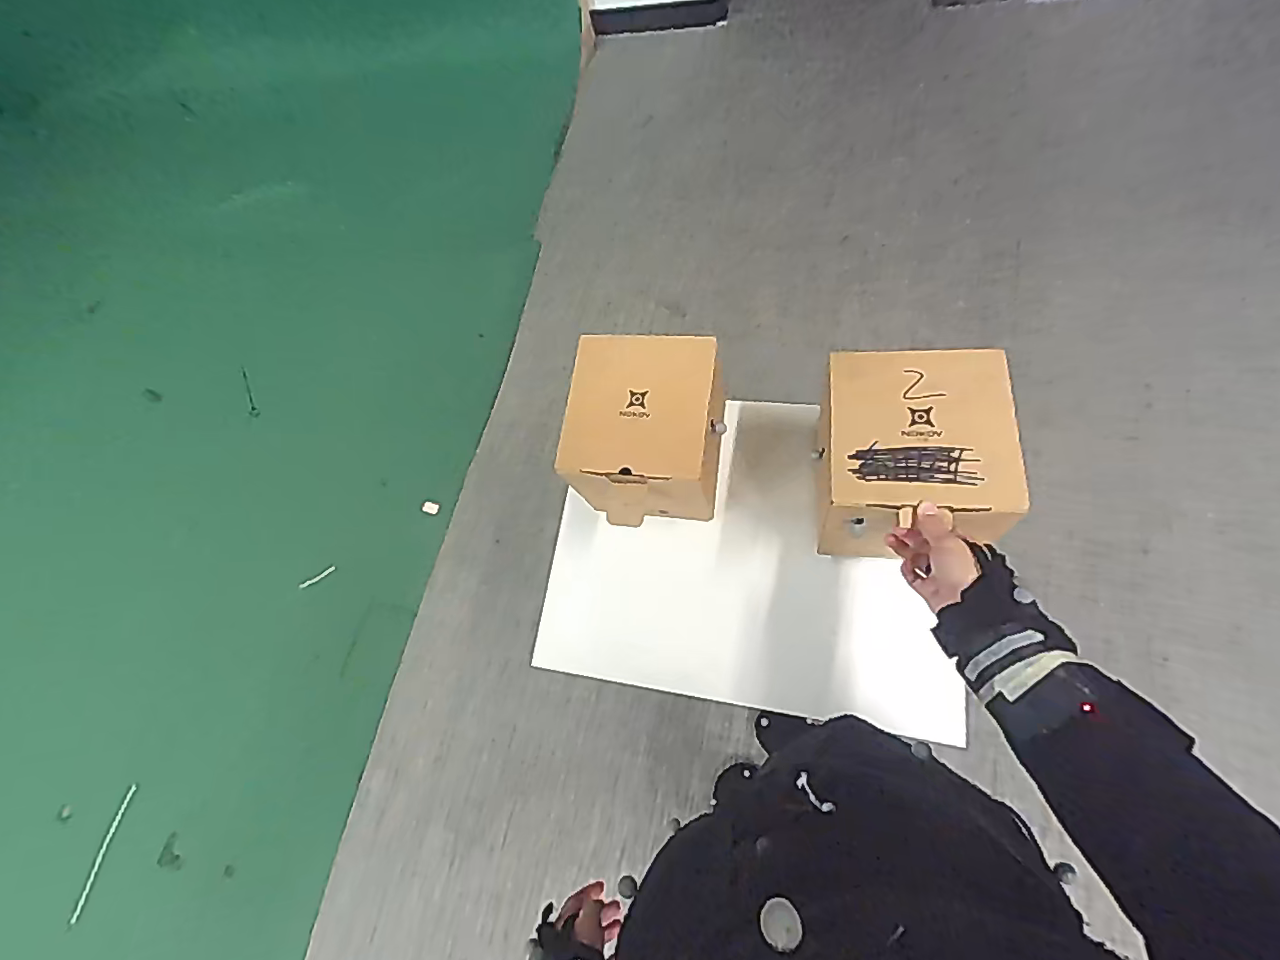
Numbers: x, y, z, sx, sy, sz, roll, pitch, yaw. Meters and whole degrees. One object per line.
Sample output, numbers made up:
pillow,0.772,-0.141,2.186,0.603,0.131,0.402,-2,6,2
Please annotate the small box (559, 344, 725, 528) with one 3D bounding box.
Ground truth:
small box,0.015,-0.050,0.681,0.168,0.176,0.179,5,73,13
